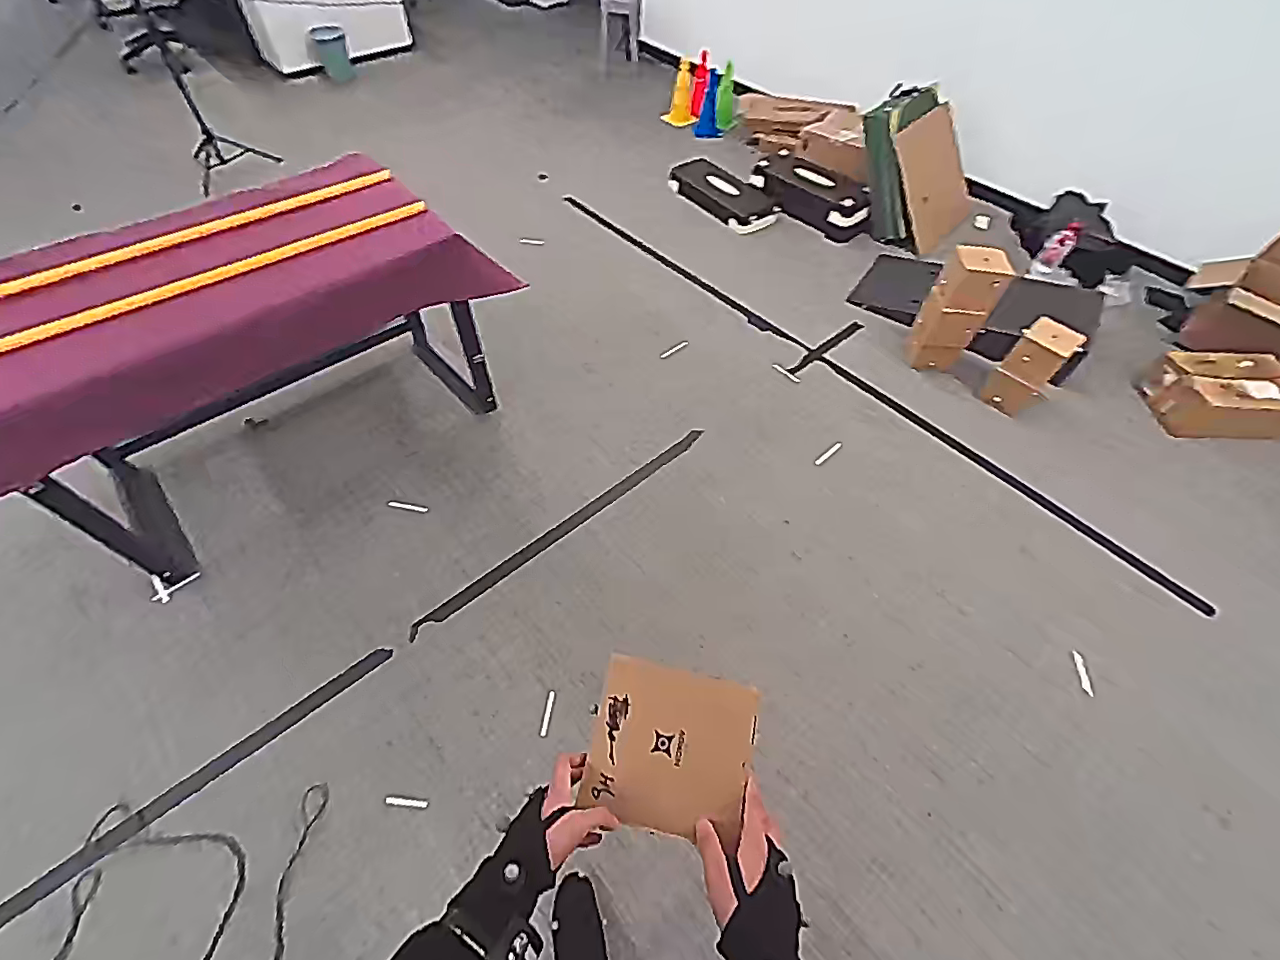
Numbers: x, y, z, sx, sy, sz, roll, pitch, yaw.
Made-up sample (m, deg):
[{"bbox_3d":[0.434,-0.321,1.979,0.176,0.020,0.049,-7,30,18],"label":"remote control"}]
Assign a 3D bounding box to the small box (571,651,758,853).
[{"bbox_3d":[0.032,0.319,0.656,0.179,0.176,0.168,12,66,7],"label":"small box"}]
